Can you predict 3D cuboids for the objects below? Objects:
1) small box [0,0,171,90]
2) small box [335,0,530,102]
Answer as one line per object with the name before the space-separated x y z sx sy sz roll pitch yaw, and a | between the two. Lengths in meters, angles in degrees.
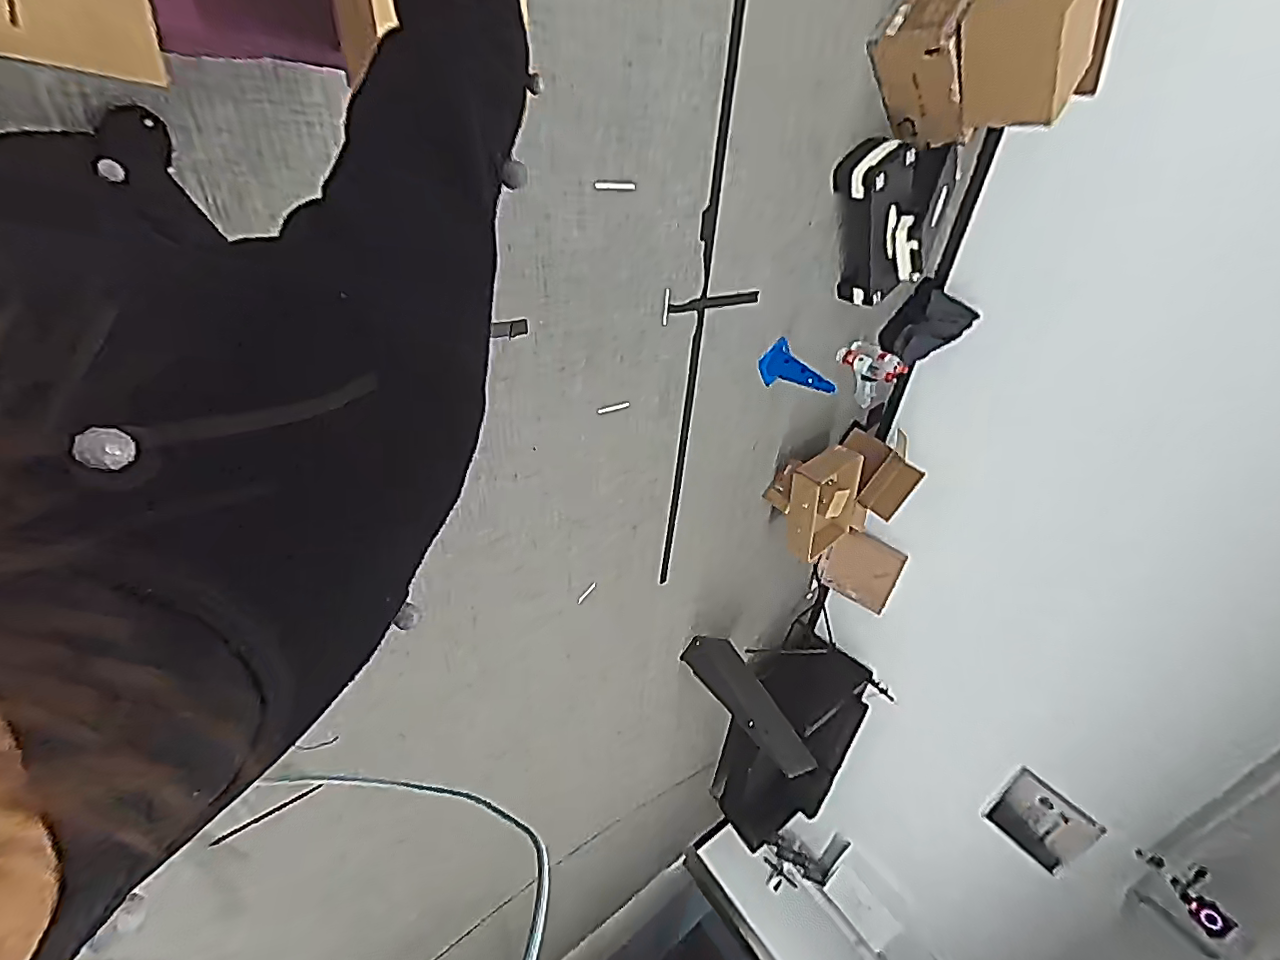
small box | -0.503 -0.438 0.430 0.168 0.176 0.179 -13 129 -36
small box | -0.237 -0.536 0.602 0.168 0.176 0.179 -19 131 -31
